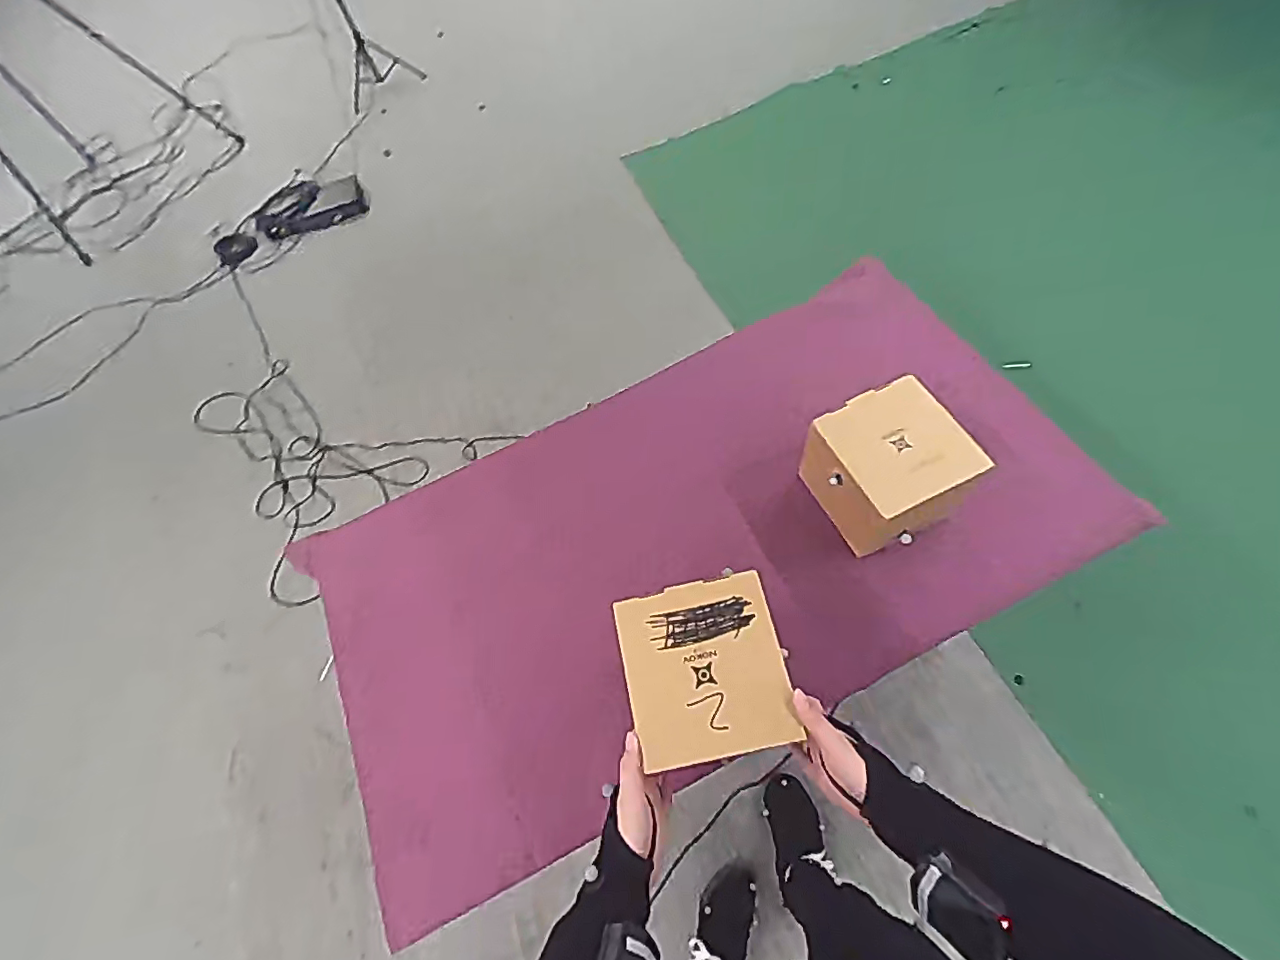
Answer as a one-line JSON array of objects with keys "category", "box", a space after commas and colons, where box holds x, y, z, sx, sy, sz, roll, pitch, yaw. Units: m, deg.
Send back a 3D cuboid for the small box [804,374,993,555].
[{"category": "small box", "box": [0.361, -0.016, 0.800, 0.168, 0.176, 0.179, -25, 62, -3]}]
